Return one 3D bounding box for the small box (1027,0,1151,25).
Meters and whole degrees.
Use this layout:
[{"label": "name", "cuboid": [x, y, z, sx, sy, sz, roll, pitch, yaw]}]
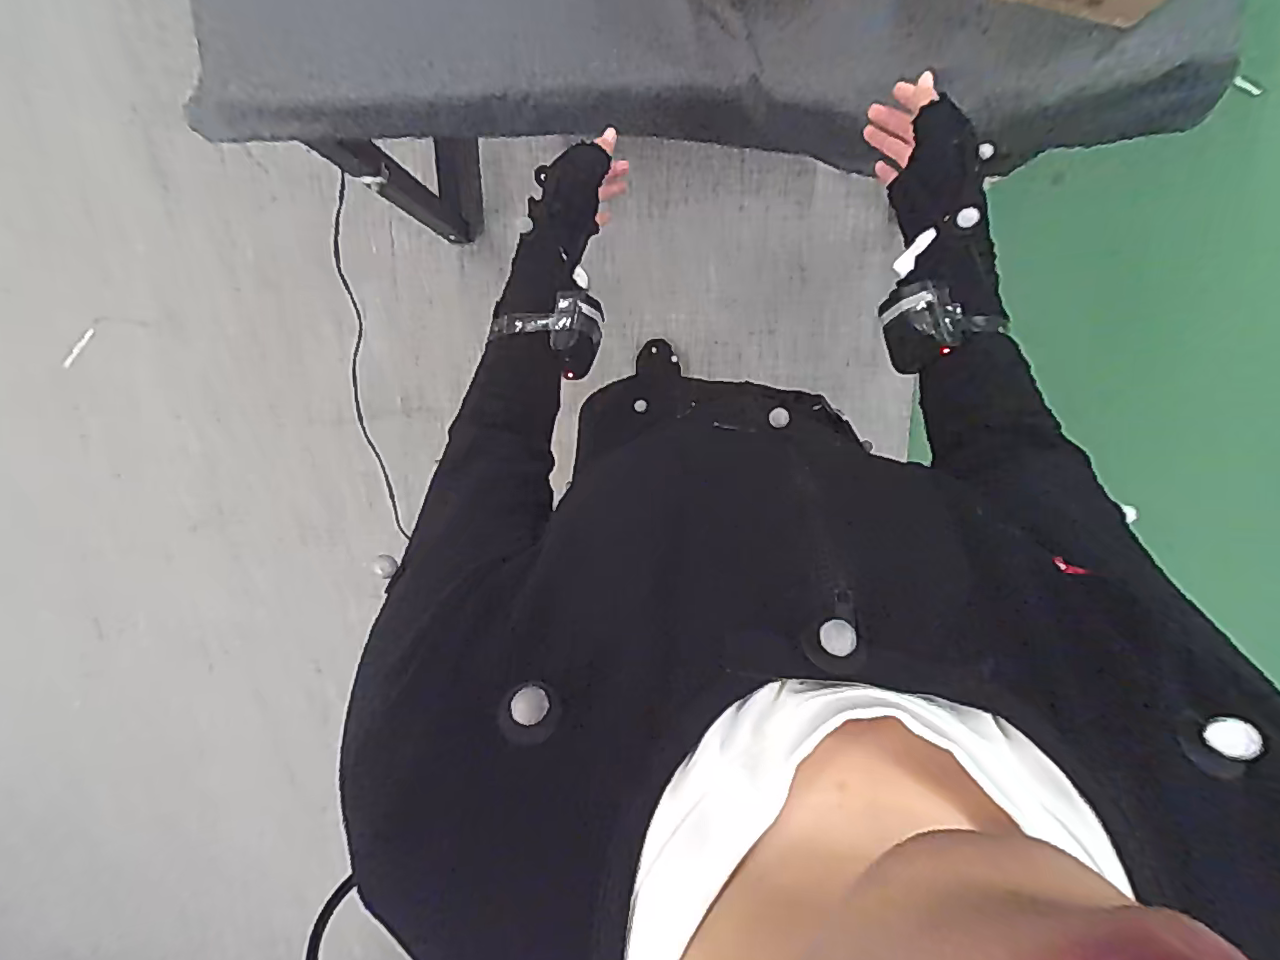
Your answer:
[{"label": "small box", "cuboid": [0.484, -0.597, 0.520, 0.168, 0.176, 0.179, 13, 98, 0]}]
